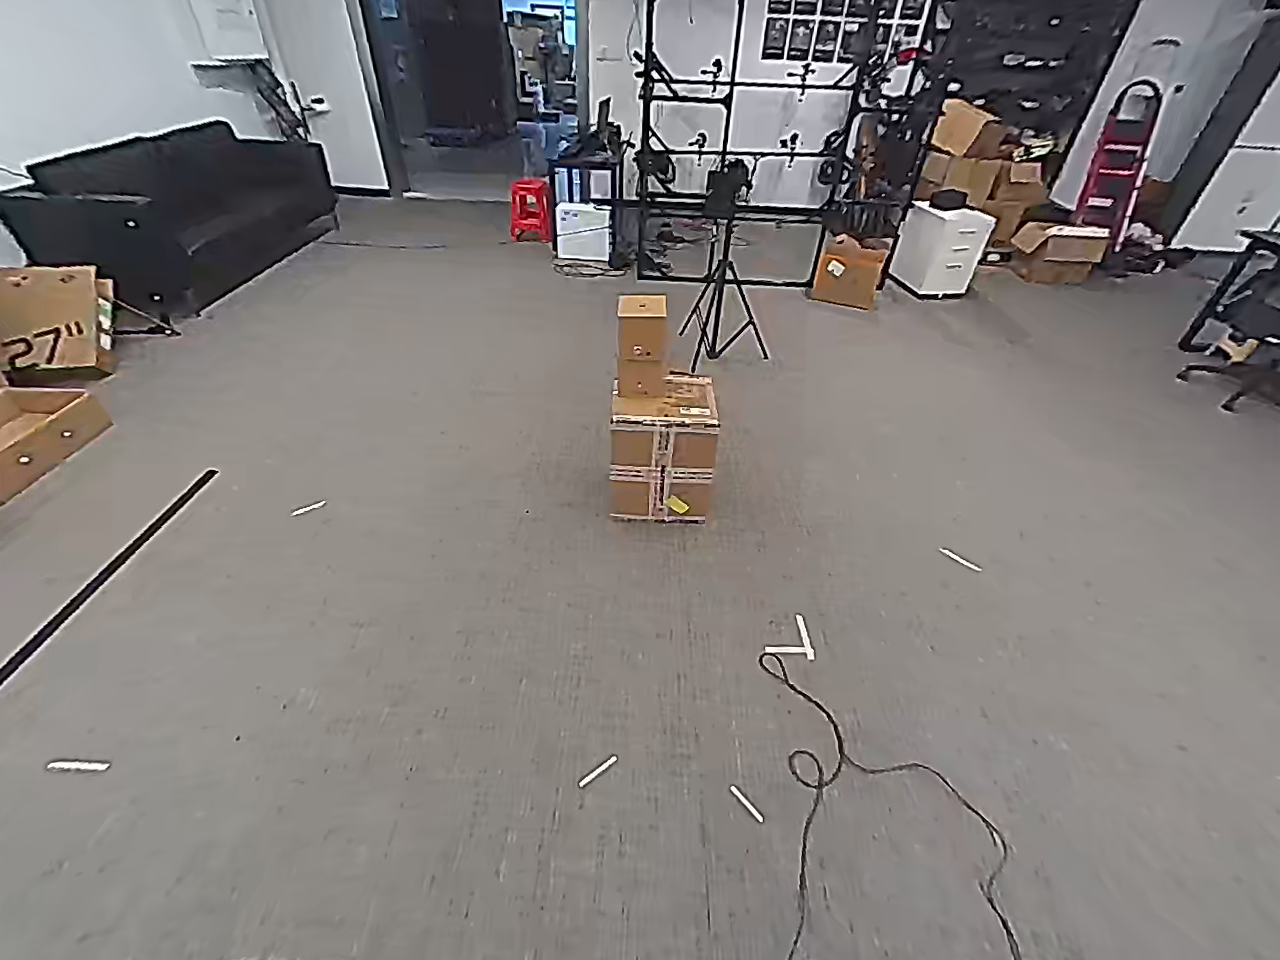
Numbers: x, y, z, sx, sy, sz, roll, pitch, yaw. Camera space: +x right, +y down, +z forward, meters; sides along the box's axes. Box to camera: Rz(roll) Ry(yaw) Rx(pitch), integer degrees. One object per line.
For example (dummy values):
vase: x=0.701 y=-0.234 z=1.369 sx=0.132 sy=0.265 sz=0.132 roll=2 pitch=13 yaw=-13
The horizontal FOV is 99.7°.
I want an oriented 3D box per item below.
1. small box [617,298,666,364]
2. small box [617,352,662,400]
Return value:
small box: x=0.005 y=-0.529 z=1.919 sx=0.168 sy=0.176 sz=0.179 roll=0 pitch=42 yaw=0
small box: x=-0.002 y=-0.420 z=2.041 sx=0.168 sy=0.176 sz=0.179 roll=1 pitch=42 yaw=0
